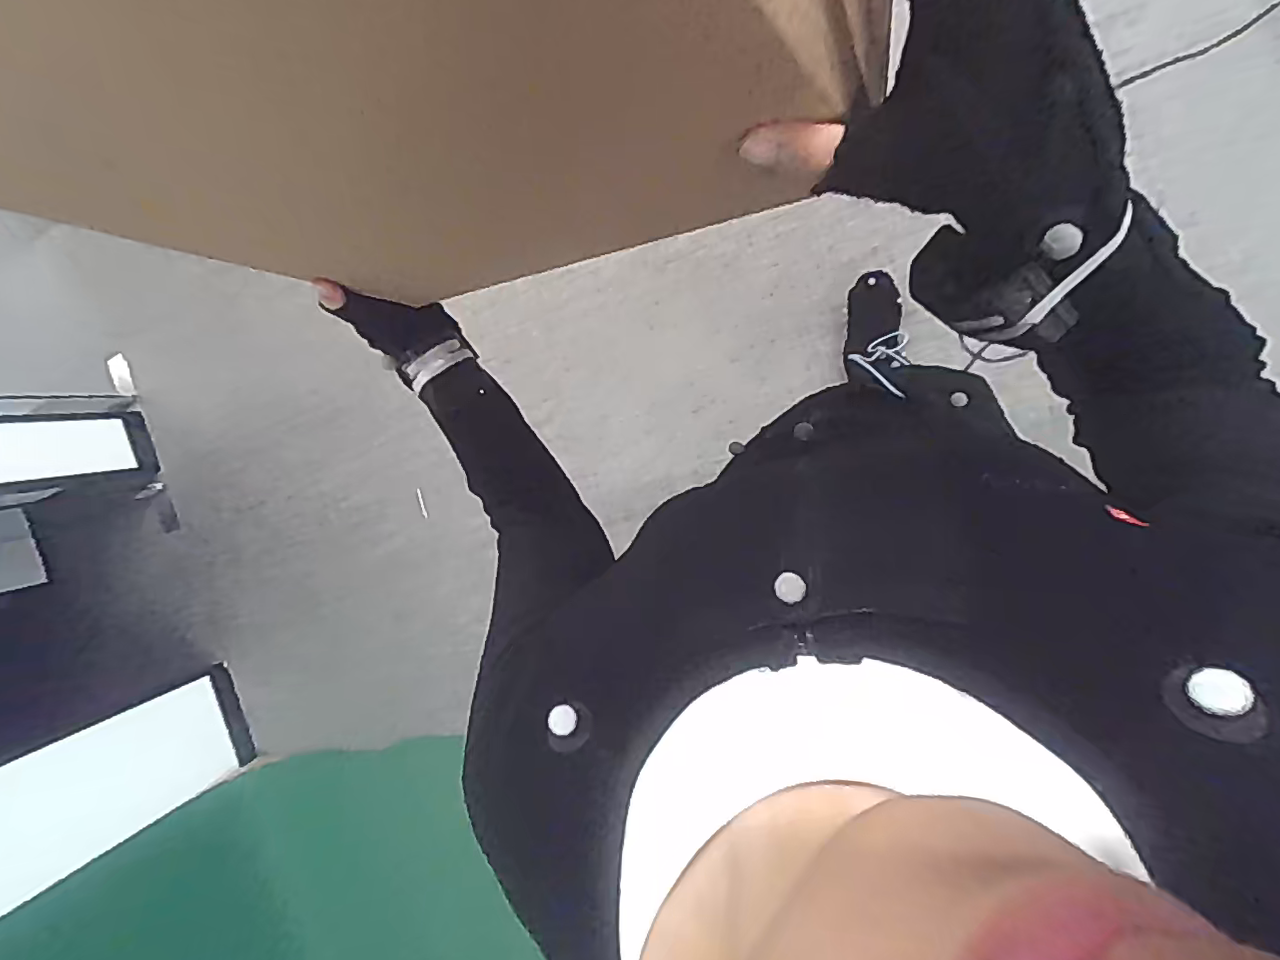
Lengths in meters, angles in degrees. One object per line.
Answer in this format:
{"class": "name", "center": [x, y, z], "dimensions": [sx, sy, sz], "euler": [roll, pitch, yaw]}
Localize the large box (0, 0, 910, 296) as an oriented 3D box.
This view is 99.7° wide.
{"class": "large box", "center": [-0.126, -0.303, 0.237], "dimensions": [0.408, 0.320, 0.320], "euler": [3, 94, 38]}
